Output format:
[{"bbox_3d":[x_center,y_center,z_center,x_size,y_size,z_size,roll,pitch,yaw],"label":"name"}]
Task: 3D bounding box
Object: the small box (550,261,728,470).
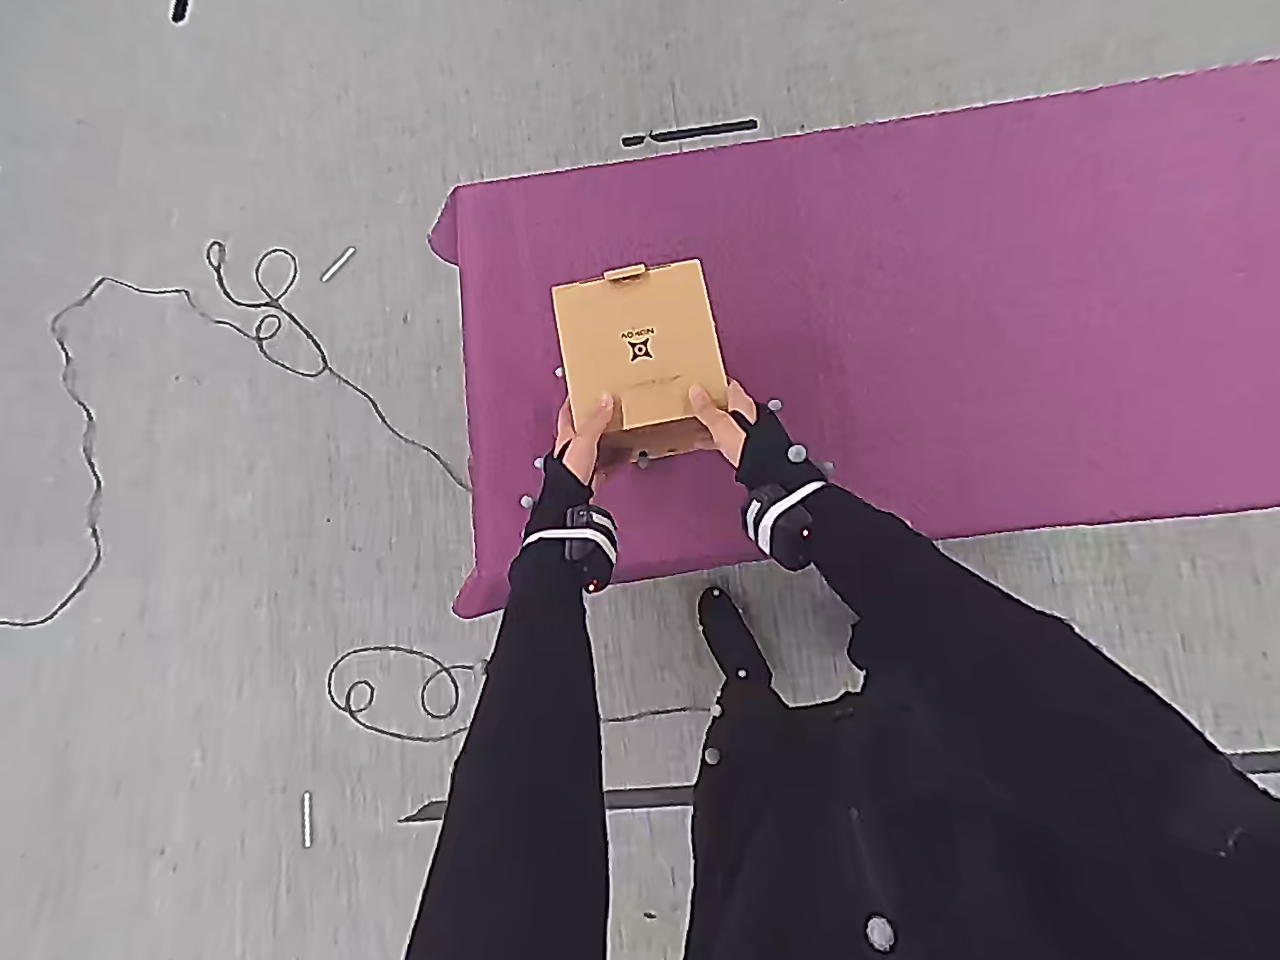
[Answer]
[{"bbox_3d":[-0.001,-0.123,0.640,0.168,0.176,0.179,-10,79,1],"label":"small box"}]
